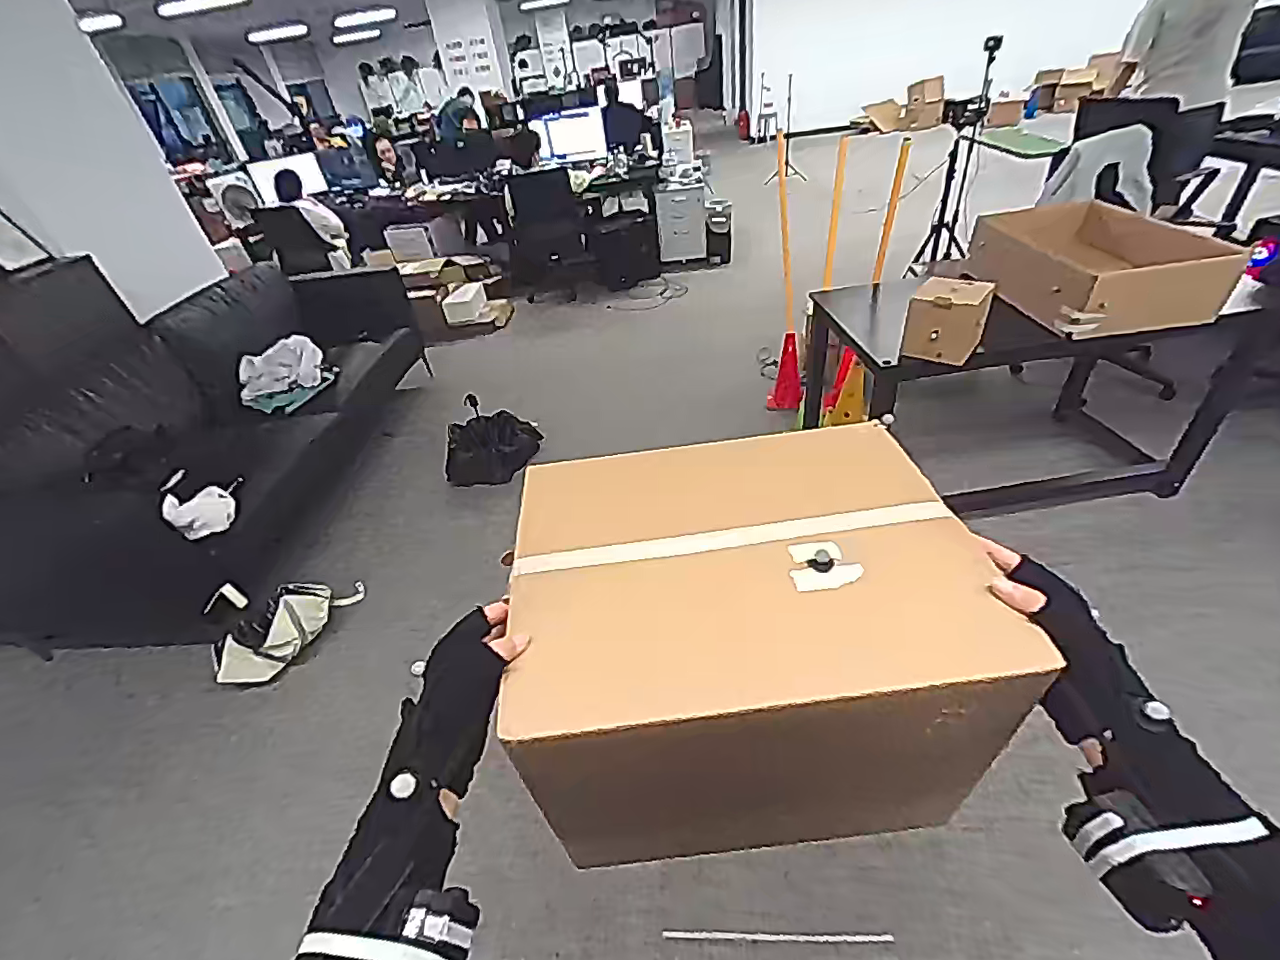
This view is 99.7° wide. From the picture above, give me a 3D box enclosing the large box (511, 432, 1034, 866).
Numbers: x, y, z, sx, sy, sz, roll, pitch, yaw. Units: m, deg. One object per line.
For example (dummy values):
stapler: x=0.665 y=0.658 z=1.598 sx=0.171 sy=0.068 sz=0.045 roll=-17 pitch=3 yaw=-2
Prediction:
large box: x=0.097 y=0.180 z=0.604 sx=0.408 sy=0.320 sz=0.320 roll=-7 pitch=40 yaw=-1
